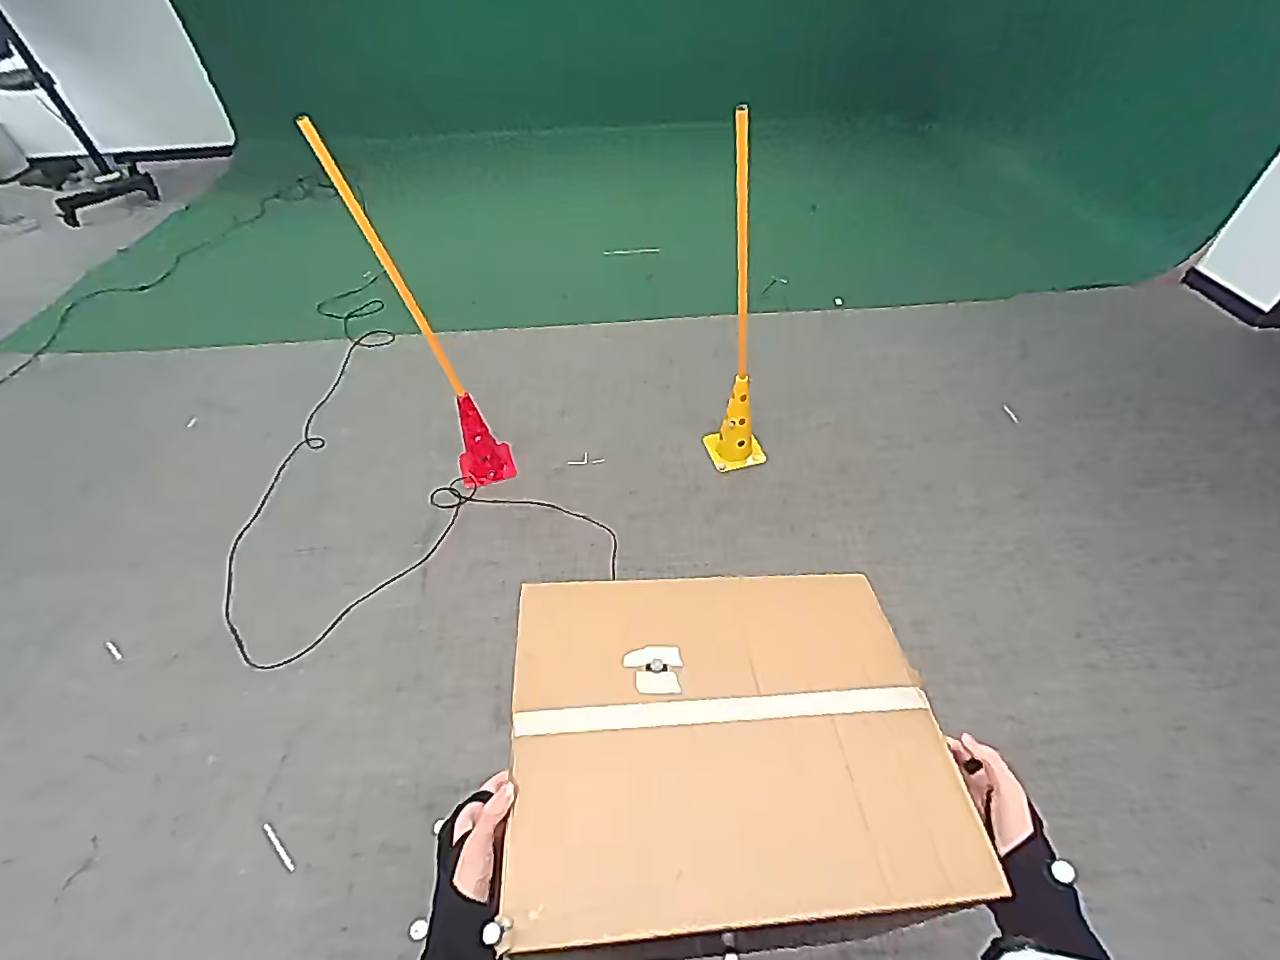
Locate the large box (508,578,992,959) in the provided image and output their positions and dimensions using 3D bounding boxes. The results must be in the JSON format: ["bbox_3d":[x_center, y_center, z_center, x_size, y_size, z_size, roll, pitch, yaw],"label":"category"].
[{"bbox_3d":[0.075,0.338,0.632,0.408,0.320,0.320,-1,45,-6],"label":"large box"}]
